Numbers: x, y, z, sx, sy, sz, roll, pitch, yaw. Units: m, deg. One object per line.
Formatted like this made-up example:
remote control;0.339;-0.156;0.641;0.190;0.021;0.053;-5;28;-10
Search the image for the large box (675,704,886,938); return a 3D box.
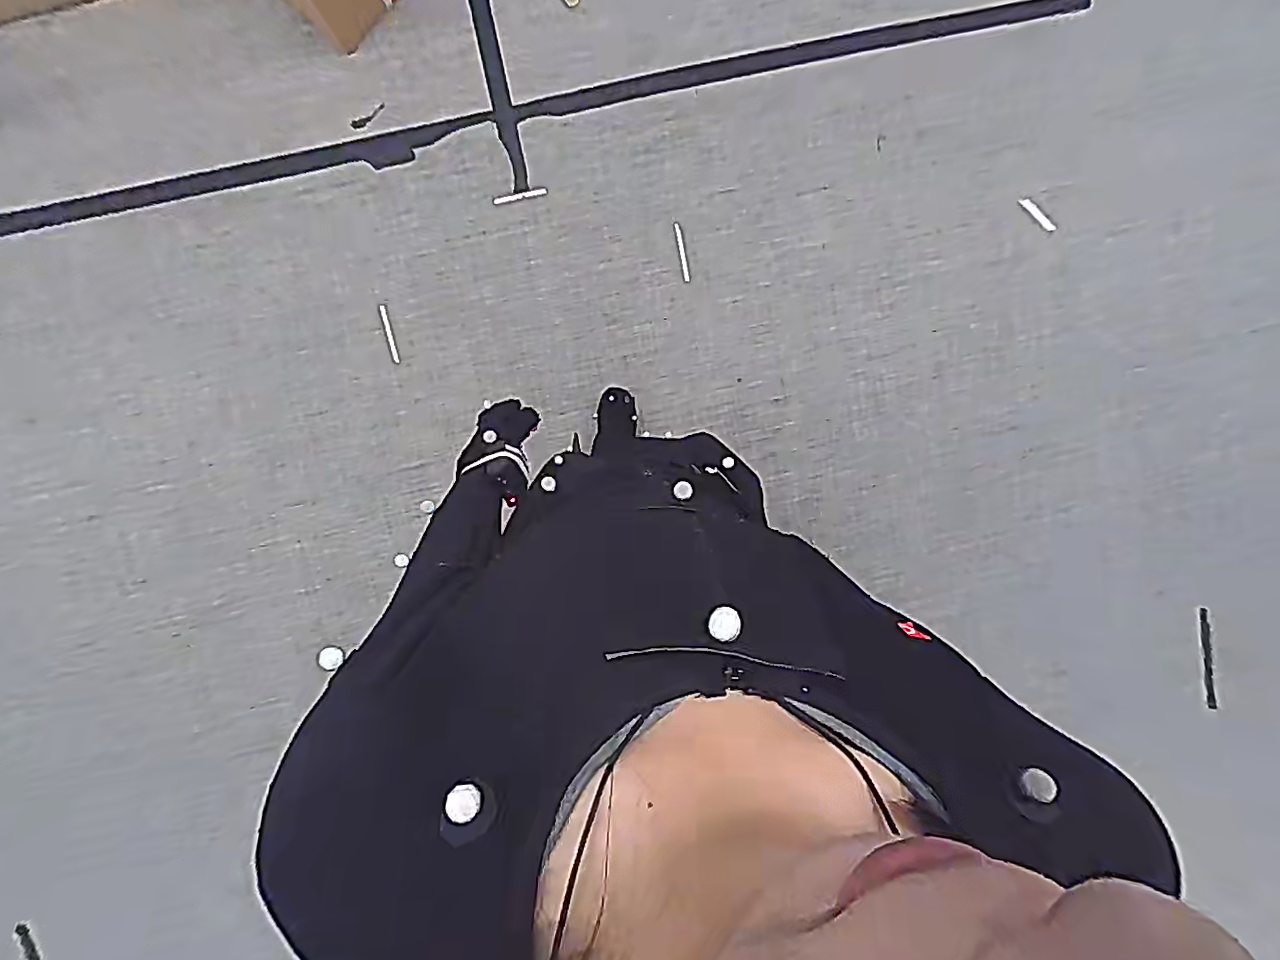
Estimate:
large box;0.322;0.806;1.326;0.408;0.320;0.320;-11;97;-3
